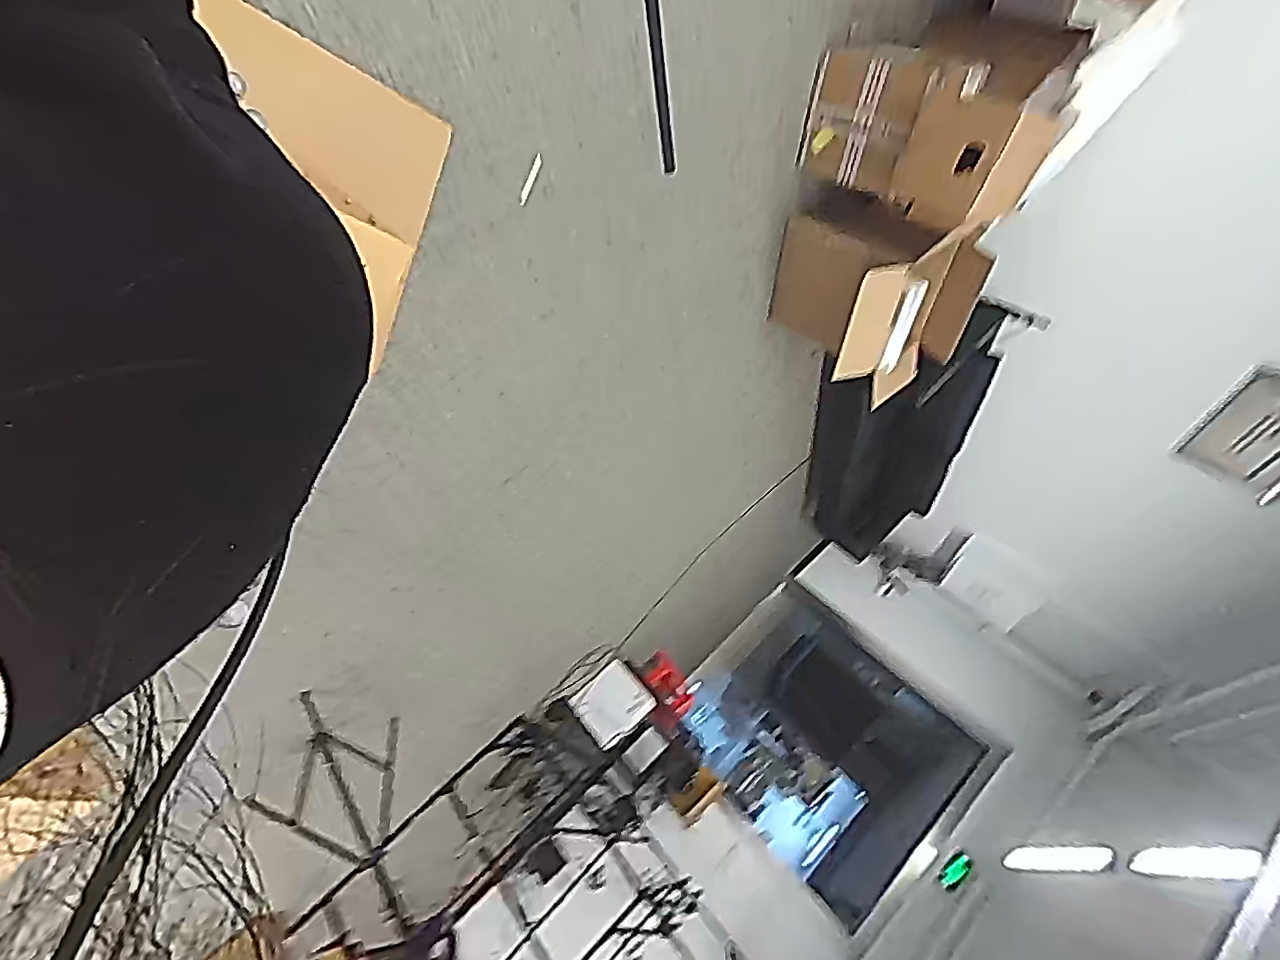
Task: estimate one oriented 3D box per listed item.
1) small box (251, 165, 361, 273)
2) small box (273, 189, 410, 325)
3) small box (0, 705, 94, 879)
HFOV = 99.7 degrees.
[{"bbox_3d":[-0.718,-0.542,1.179,0.168,0.176,0.179,6,122,-55],"label":"small box"},{"bbox_3d":[-0.609,-0.452,1.097,0.168,0.176,0.179,8,119,-56],"label":"small box"},{"bbox_3d":[-0.923,0.435,0.742,0.168,0.176,0.179,-40,148,-16],"label":"small box"}]
